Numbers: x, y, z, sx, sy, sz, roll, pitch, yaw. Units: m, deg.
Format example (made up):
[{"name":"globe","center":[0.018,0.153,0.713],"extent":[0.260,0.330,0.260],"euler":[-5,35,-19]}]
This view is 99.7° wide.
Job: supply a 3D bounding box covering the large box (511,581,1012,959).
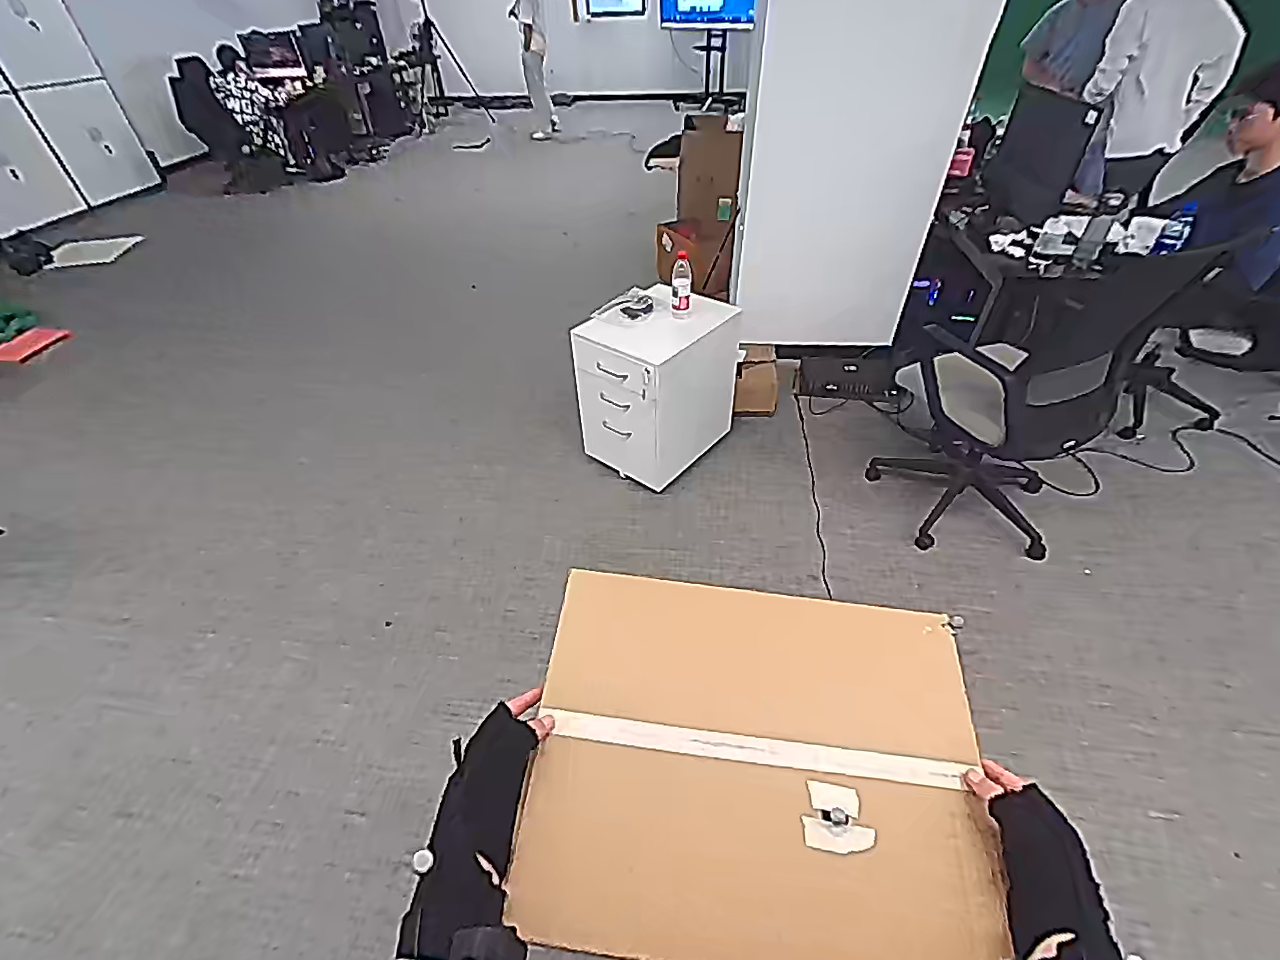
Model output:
[{"name":"large box","center":[0.104,0.341,0.626],"extent":[0.408,0.320,0.320],"euler":[7,55,4]}]
